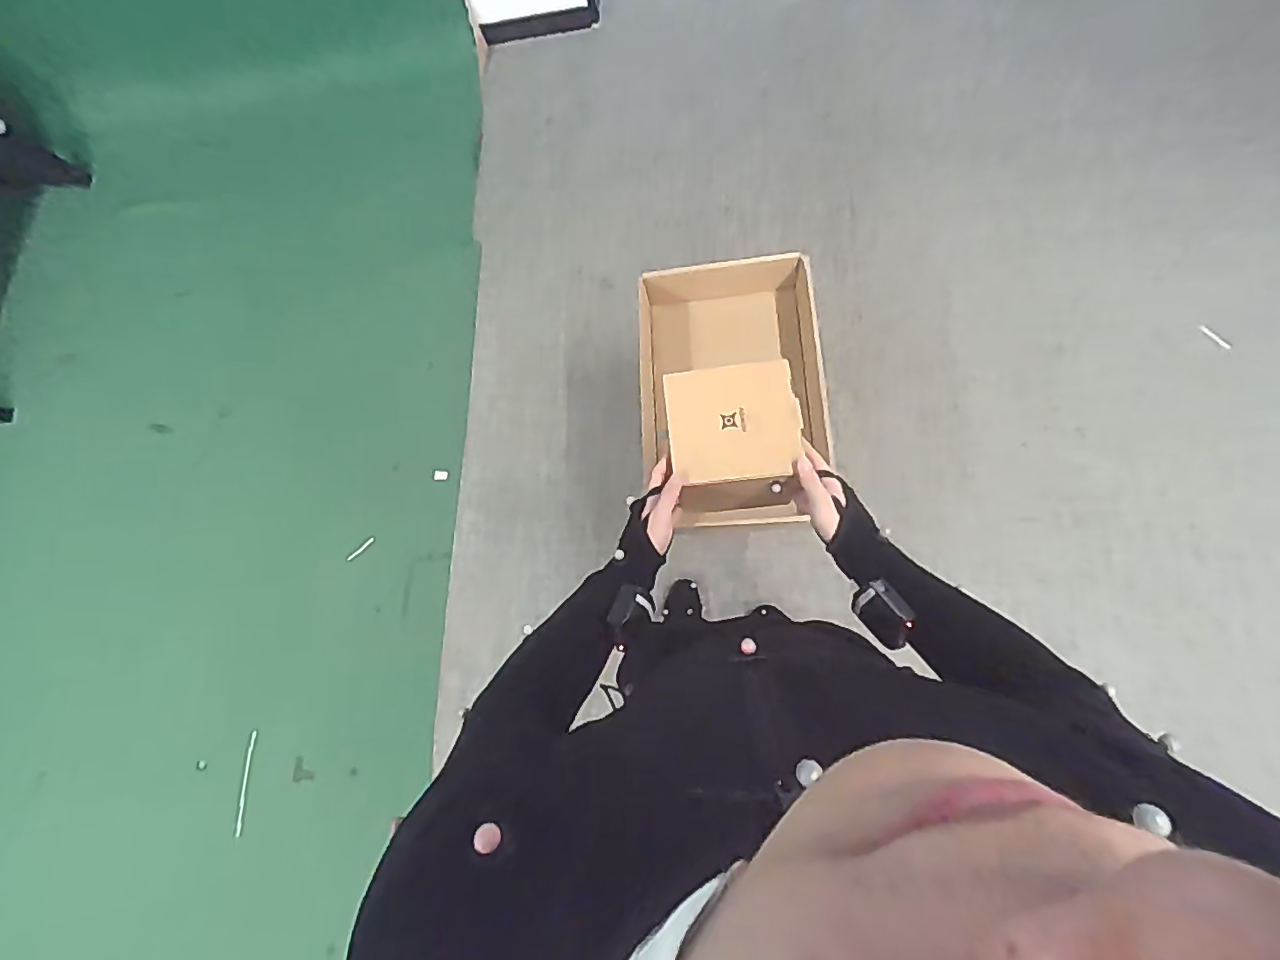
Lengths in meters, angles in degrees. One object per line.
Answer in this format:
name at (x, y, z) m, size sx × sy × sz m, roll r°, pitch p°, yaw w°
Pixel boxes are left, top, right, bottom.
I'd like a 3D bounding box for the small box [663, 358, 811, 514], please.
small box at (0.132, -0.055, 0.788) m, size 0.179 × 0.176 × 0.168 m, roll -7°, pitch 72°, yaw 2°
